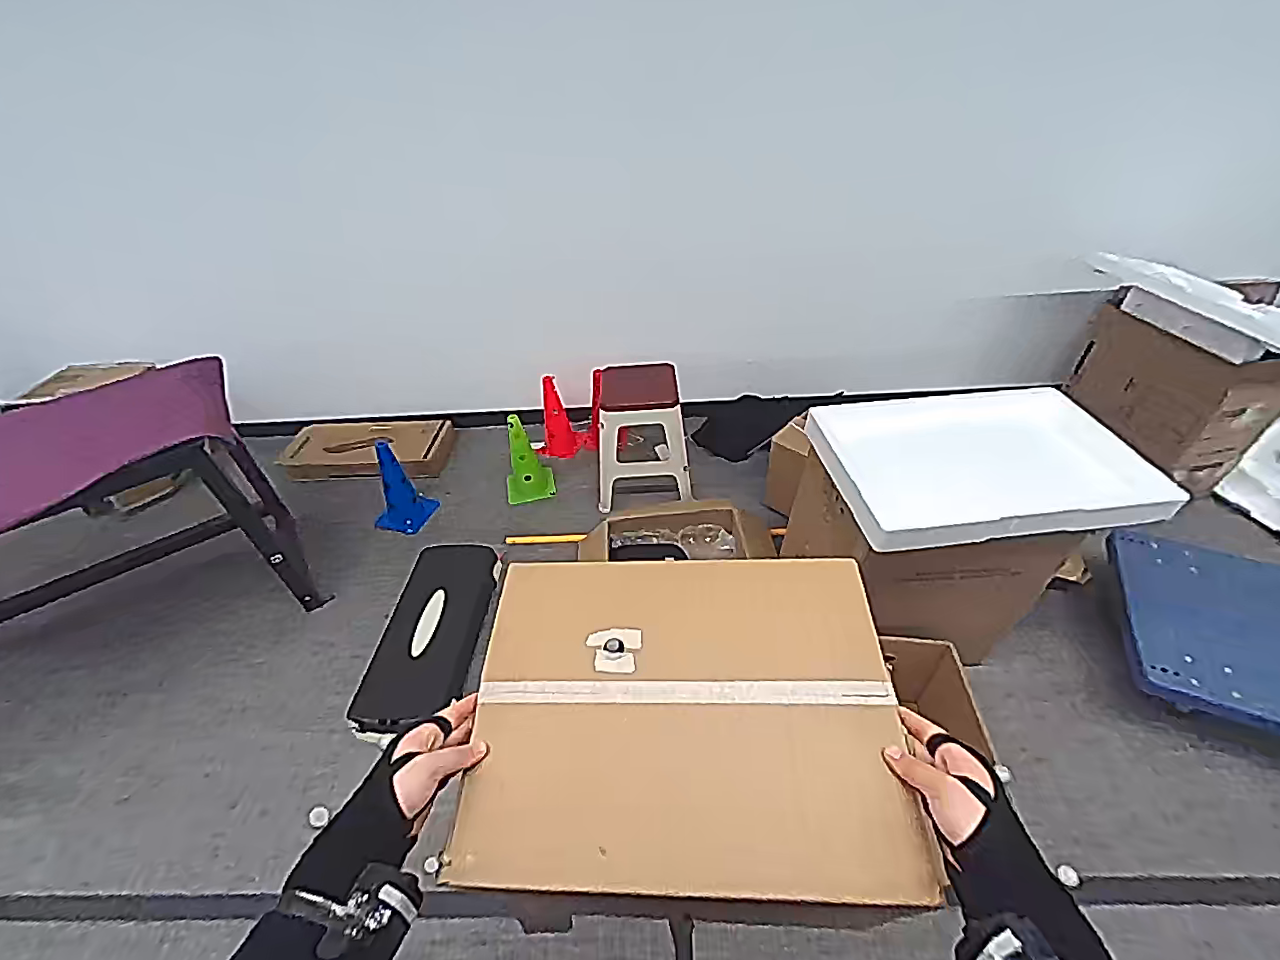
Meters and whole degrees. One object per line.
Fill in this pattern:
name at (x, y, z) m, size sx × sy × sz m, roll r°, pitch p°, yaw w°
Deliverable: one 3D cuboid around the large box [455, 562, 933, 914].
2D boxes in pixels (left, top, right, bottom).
large box at (0.056, 0.319, 0.653) m, size 0.408 × 0.320 × 0.320 m, roll -3°, pitch 46°, yaw 5°
